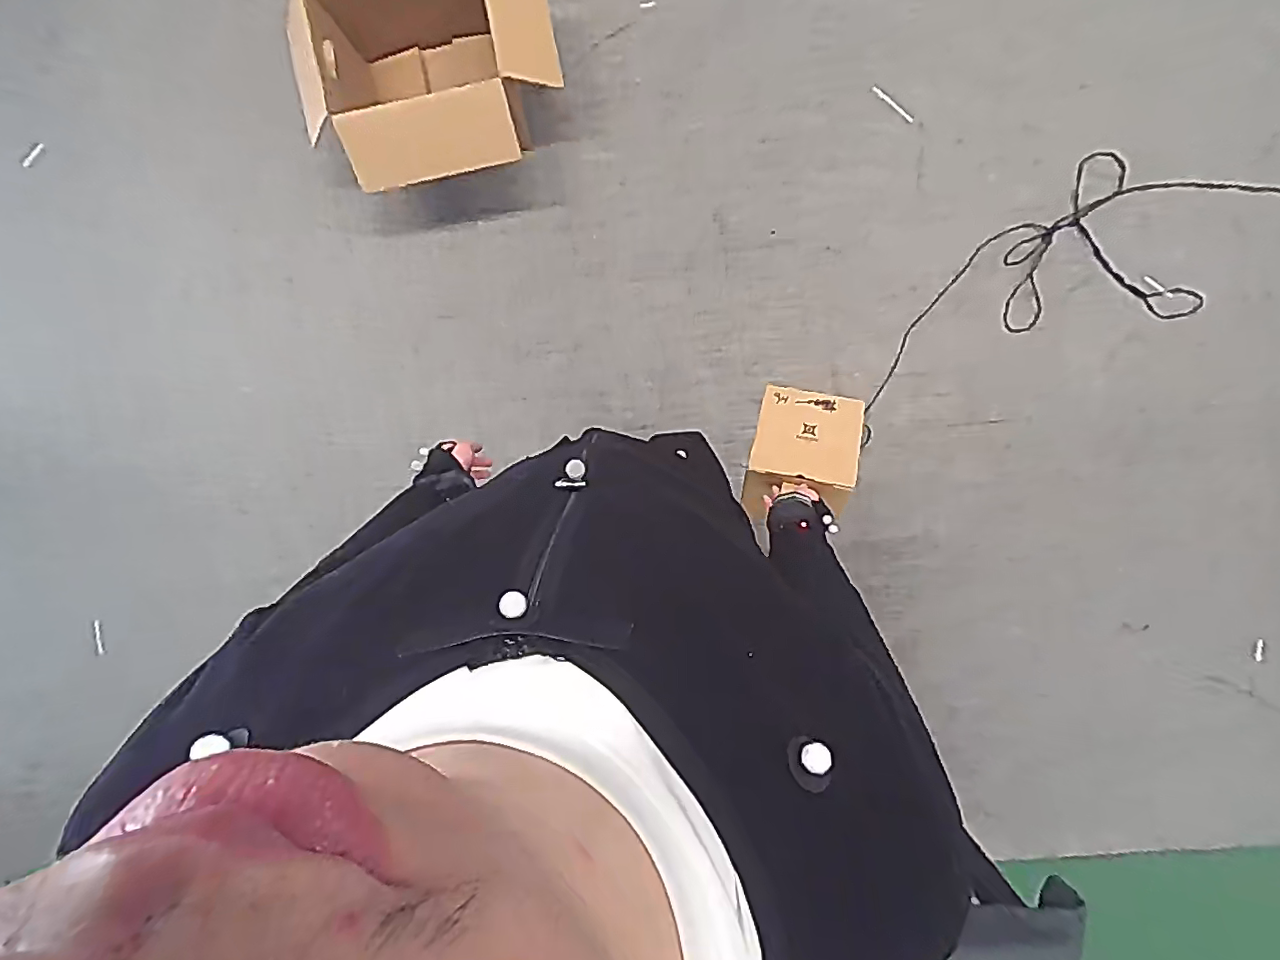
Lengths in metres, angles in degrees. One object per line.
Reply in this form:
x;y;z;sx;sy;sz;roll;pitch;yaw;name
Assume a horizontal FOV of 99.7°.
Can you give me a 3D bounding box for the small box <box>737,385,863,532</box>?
0.268;-0.032;0.930;0.168;0.176;0.179;14;62;12;small box
